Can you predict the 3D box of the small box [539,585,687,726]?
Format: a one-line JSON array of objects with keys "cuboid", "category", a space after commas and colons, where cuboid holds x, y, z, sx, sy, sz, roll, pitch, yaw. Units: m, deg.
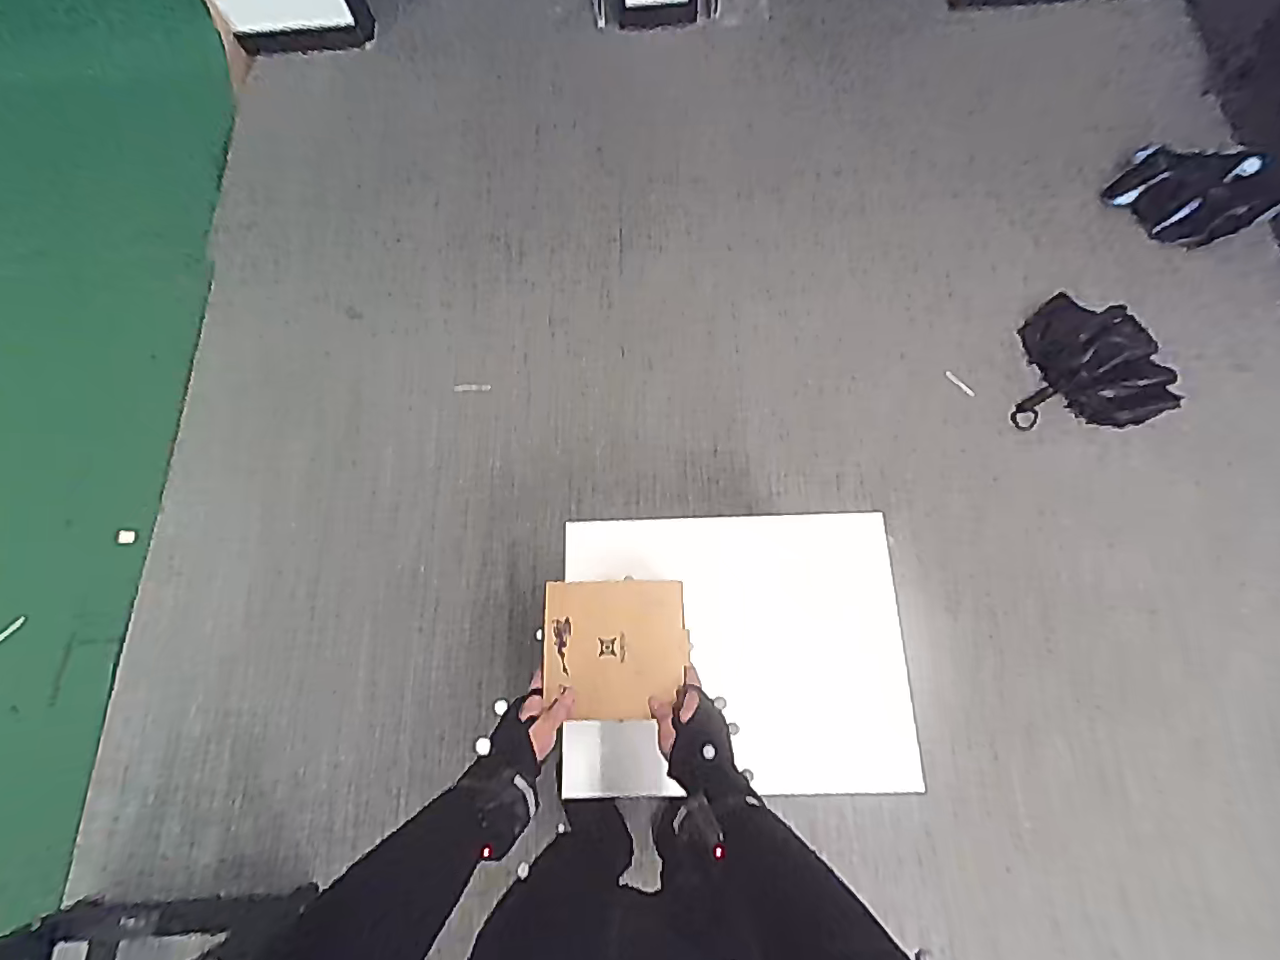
[{"cuboid": [-0.032, 0.231, 0.730, 0.179, 0.176, 0.168, -1, 73, 0], "category": "small box"}]
